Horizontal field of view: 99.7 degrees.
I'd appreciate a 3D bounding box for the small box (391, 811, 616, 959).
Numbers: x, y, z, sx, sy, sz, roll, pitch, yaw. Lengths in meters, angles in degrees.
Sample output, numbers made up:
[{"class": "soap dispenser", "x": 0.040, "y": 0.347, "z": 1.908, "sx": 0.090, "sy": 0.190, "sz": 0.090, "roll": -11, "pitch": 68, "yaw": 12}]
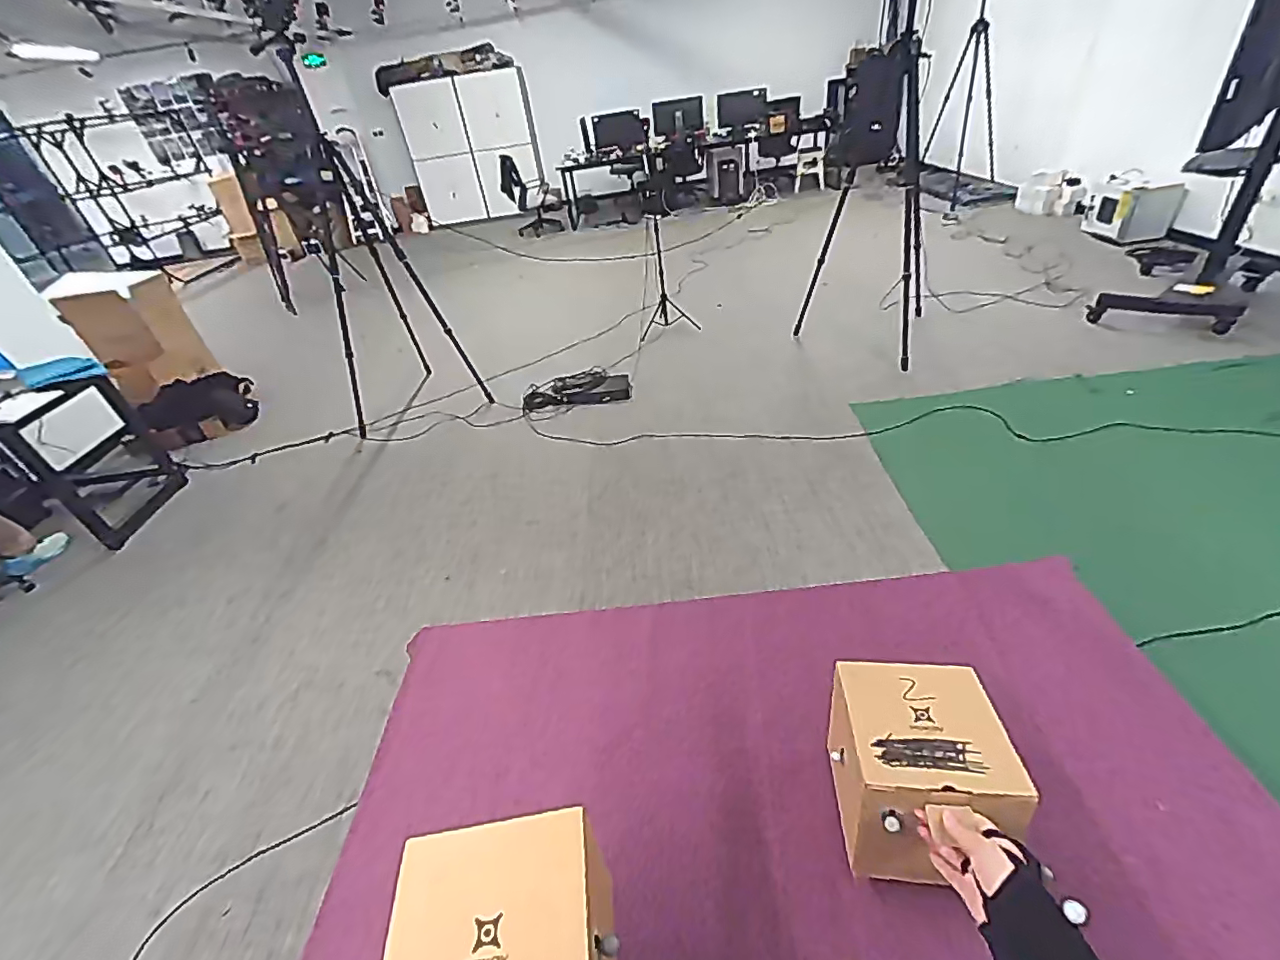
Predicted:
[{"class": "small box", "x": -0.114, "y": 0.441, "z": 0.490, "sx": 0.168, "sy": 0.176, "sz": 0.179, "roll": -10, "pitch": 37, "yaw": -2}]
